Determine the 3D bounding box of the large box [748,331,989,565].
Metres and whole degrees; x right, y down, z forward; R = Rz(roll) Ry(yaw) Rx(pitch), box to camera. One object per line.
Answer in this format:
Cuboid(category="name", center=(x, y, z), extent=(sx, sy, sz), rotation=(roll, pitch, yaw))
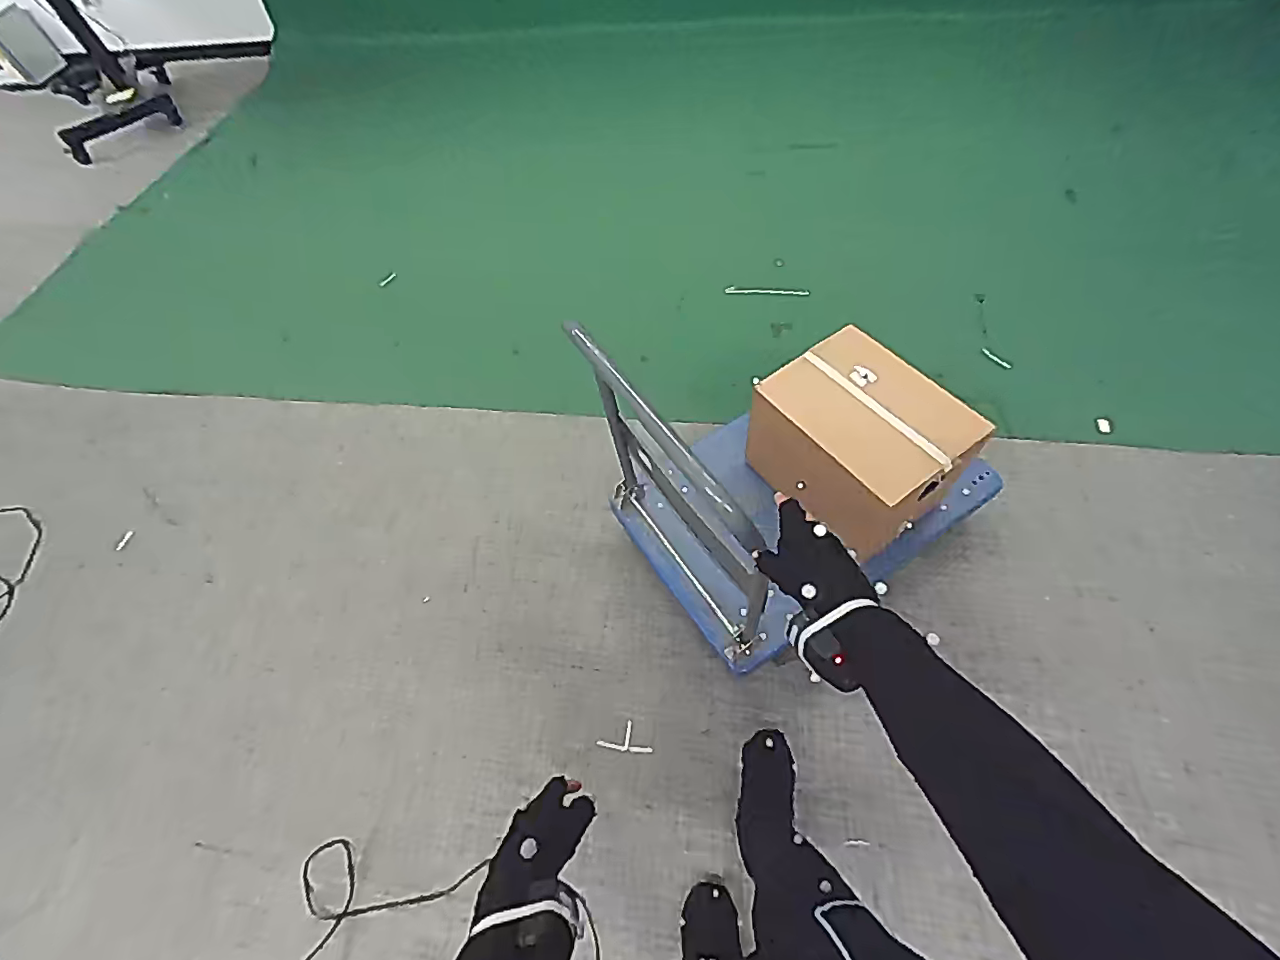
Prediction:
Cuboid(category="large box", center=(0.513, -0.076, 1.312), extent=(0.320, 0.320, 0.408), rotation=(-32, 59, -14))
